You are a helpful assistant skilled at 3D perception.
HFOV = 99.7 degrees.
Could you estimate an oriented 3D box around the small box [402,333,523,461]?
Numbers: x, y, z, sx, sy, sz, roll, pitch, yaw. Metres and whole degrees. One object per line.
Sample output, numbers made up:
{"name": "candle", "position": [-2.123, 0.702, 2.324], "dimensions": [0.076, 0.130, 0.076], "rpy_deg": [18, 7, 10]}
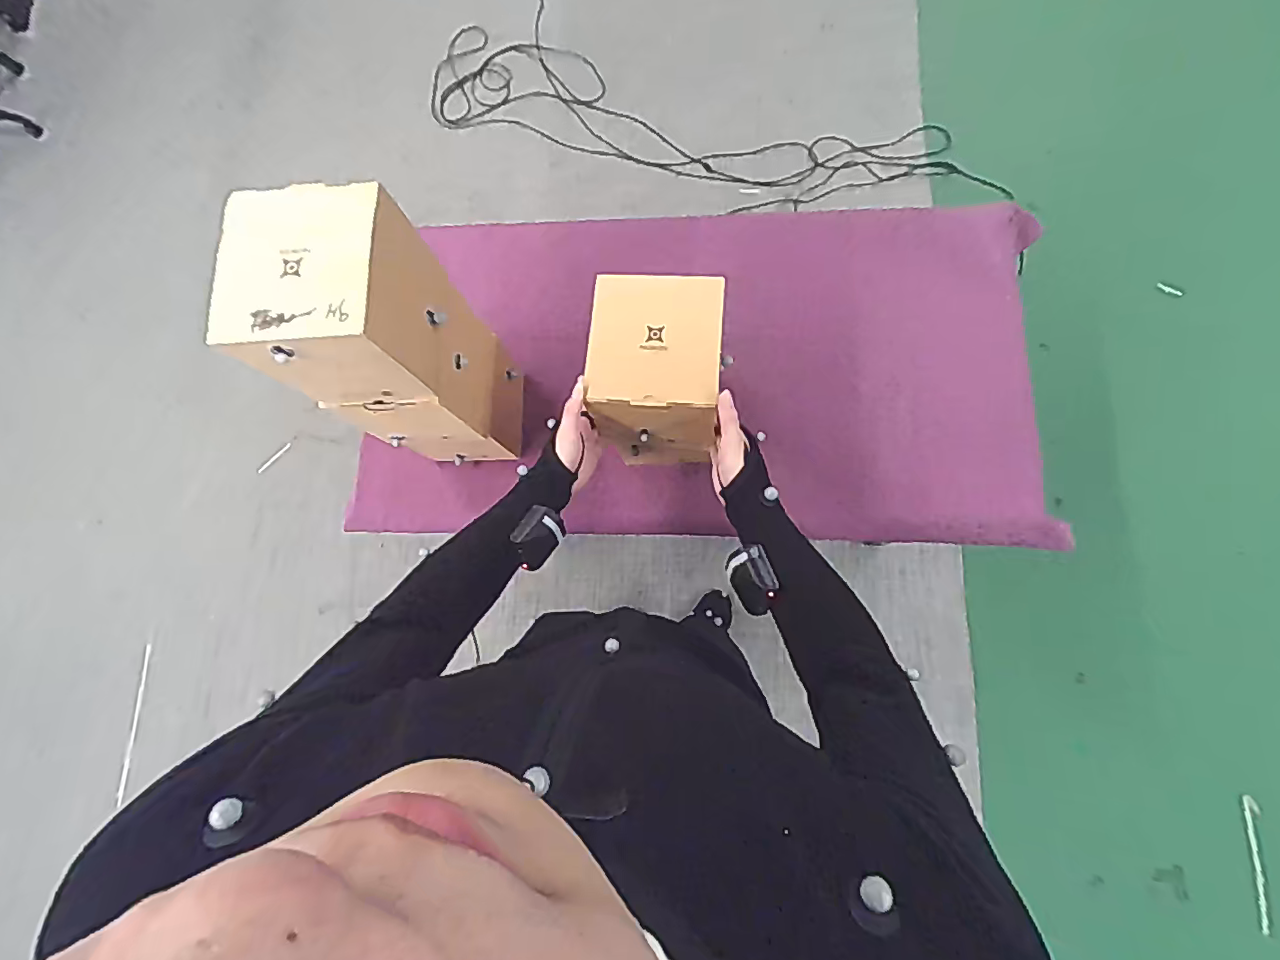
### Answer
{"name": "small box", "position": [-0.308, -0.137, 0.939], "dimensions": [0.168, 0.176, 0.179], "rpy_deg": [-1, 79, 5]}

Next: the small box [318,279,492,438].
{"name": "small box", "position": [-0.323, -0.162, 0.778], "dimensions": [0.168, 0.176, 0.179], "rpy_deg": [-1, 77, 5]}

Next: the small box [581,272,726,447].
{"name": "small box", "position": [0.024, -0.156, 0.737], "dimensions": [0.168, 0.176, 0.179], "rpy_deg": [4, 78, 7]}

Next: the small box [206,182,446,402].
{"name": "small box", "position": [-0.338, -0.202, 0.620], "dimensions": [0.168, 0.176, 0.179], "rpy_deg": [-2, 77, 6]}
